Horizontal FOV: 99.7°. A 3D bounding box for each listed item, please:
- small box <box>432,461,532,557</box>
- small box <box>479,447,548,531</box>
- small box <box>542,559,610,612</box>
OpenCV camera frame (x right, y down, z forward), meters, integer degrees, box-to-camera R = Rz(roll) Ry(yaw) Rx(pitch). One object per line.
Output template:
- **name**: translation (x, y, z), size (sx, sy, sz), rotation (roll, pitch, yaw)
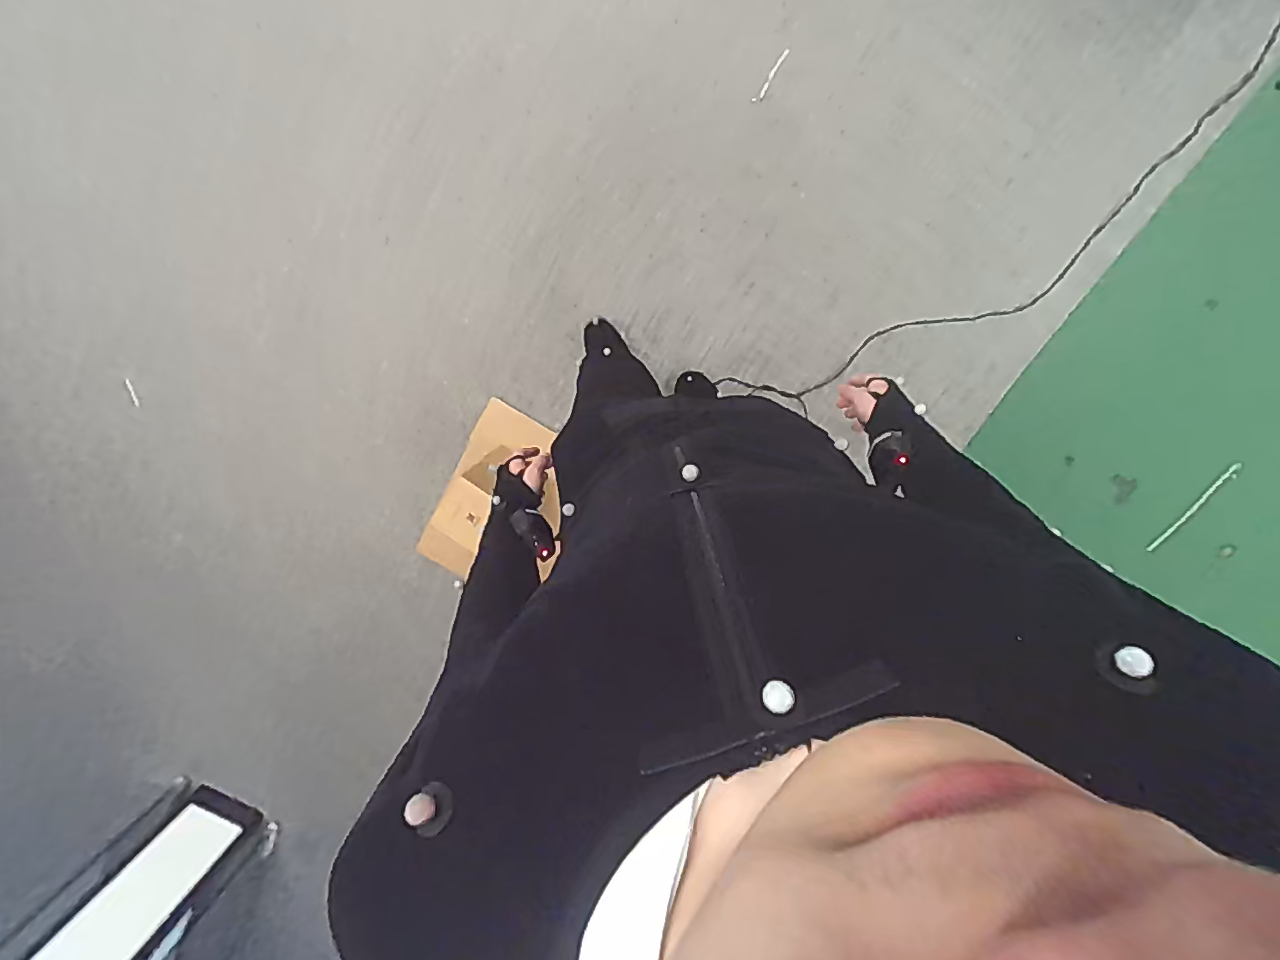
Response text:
- **small box**: translation (-0.419, 0.070, 1.467), size (0.179, 0.176, 0.168), rotation (36, 107, -6)
- **small box**: translation (-0.404, 0.018, 1.622), size (0.179, 0.176, 0.168), rotation (33, 108, -5)
- **small box**: translation (-0.215, 0.375, 1.712), size (0.179, 0.176, 0.168), rotation (32, 108, -5)
